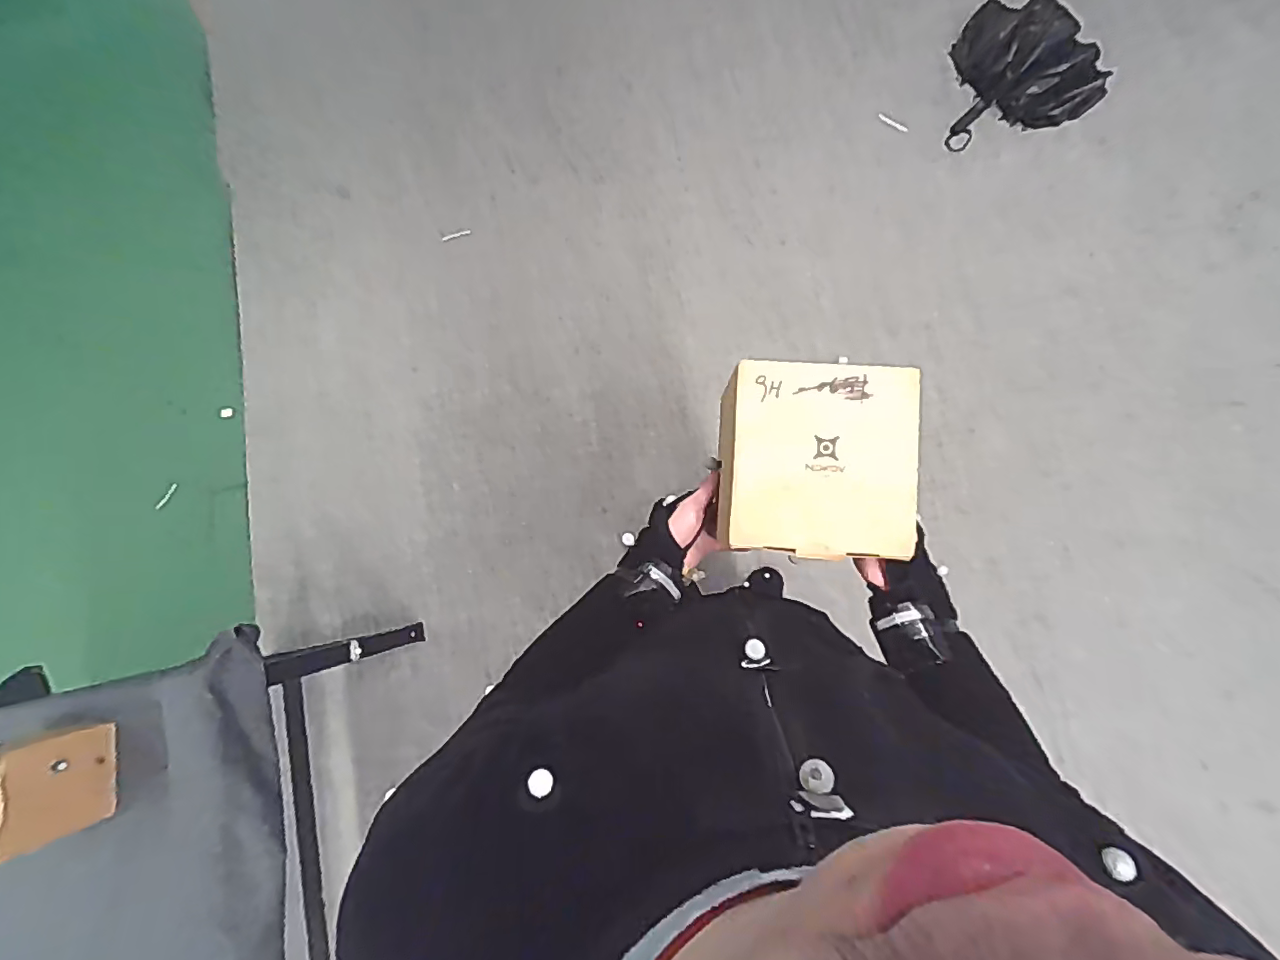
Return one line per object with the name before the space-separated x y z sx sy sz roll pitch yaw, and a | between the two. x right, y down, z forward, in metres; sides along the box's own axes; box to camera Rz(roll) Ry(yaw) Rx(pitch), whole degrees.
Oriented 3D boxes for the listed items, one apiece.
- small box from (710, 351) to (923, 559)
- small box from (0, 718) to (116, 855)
small box | 0.166 -0.020 0.561 0.168 0.176 0.179 5 87 1
small box | -1.068 0.525 0.939 0.179 0.176 0.168 -9 80 11
